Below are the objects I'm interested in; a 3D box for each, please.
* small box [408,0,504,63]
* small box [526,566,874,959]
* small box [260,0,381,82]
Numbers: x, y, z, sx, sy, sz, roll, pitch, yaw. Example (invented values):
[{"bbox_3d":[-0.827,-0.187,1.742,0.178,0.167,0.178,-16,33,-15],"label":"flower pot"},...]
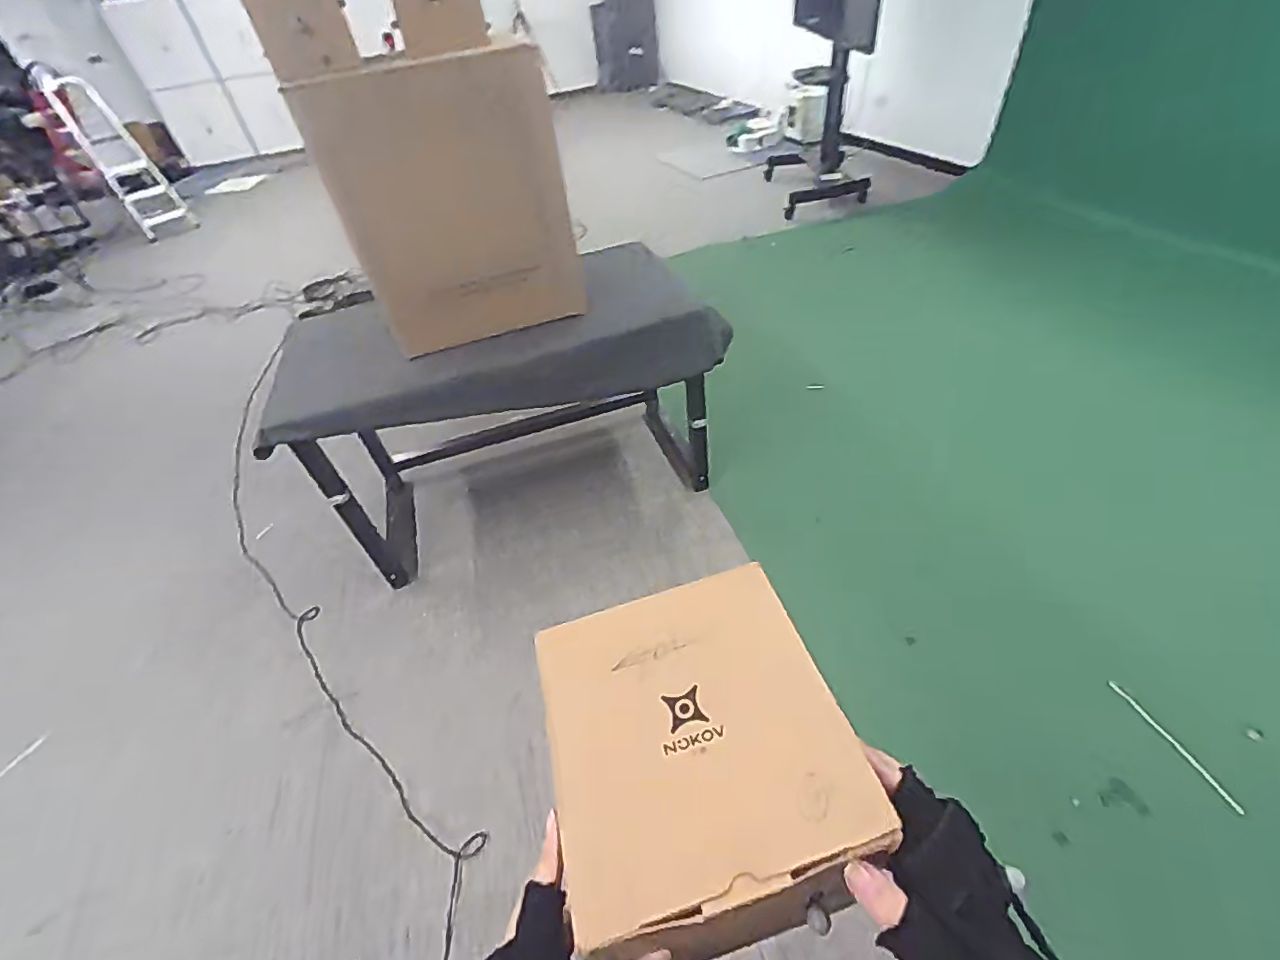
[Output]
[{"bbox_3d":[-0.398,-1.013,1.146,0.179,0.176,0.168,-18,46,-9],"label":"small box"},{"bbox_3d":[0.032,0.196,0.372,0.168,0.176,0.179,-16,41,-5],"label":"small box"},{"bbox_3d":[-0.645,-0.931,1.099,0.168,0.176,0.179,-18,47,-10],"label":"small box"}]
